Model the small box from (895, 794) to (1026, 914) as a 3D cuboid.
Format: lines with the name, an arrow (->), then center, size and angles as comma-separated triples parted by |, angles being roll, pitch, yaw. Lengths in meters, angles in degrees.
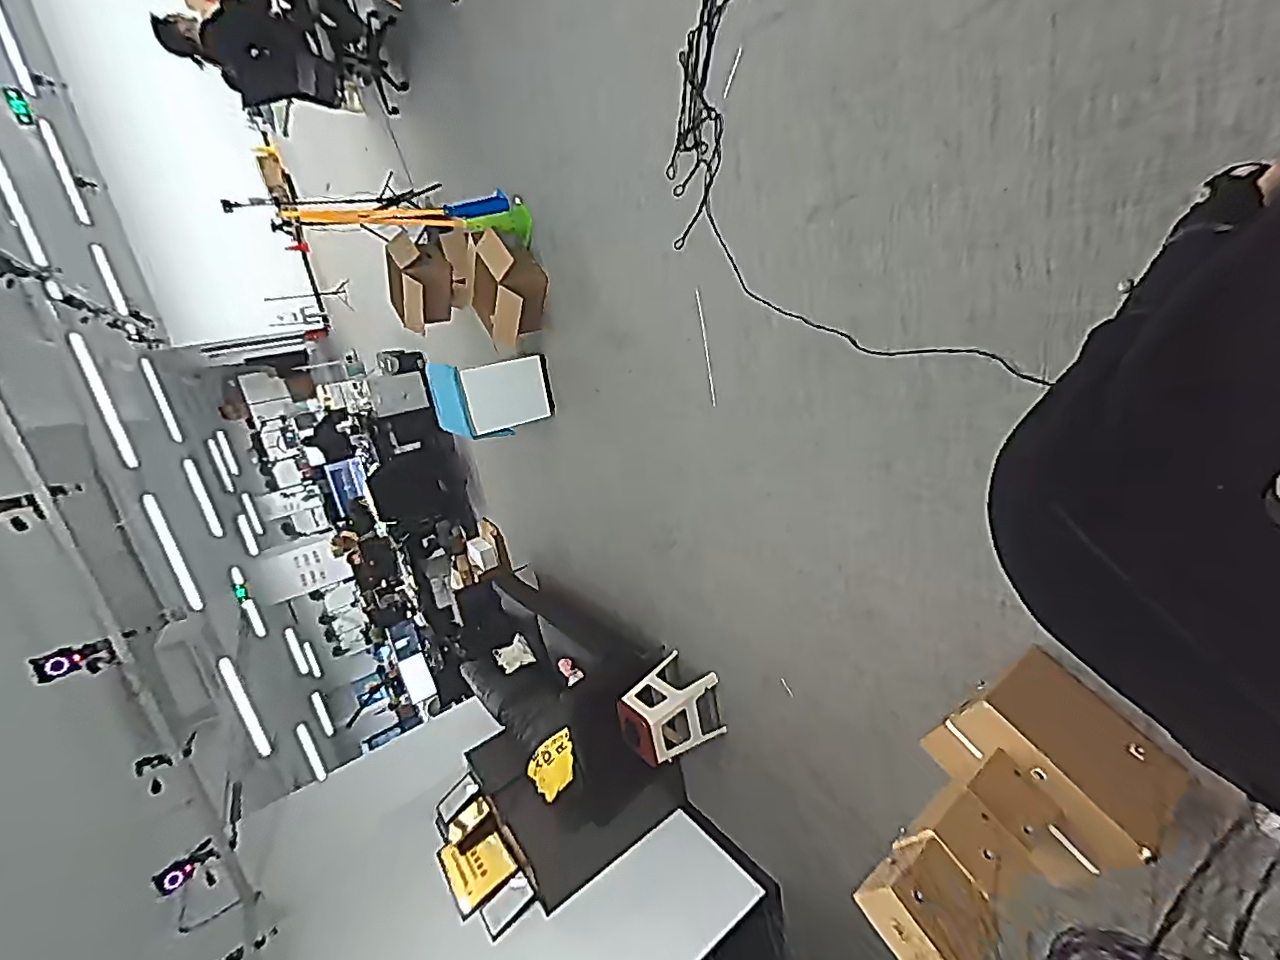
small box -> 0.733, 0.857, 1.233 | 0.168, 0.176, 0.179 | 49, 144, 31

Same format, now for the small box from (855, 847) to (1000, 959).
small box -> 0.605, 0.917, 1.147 | 0.179, 0.176, 0.168 | 50, 145, 29
